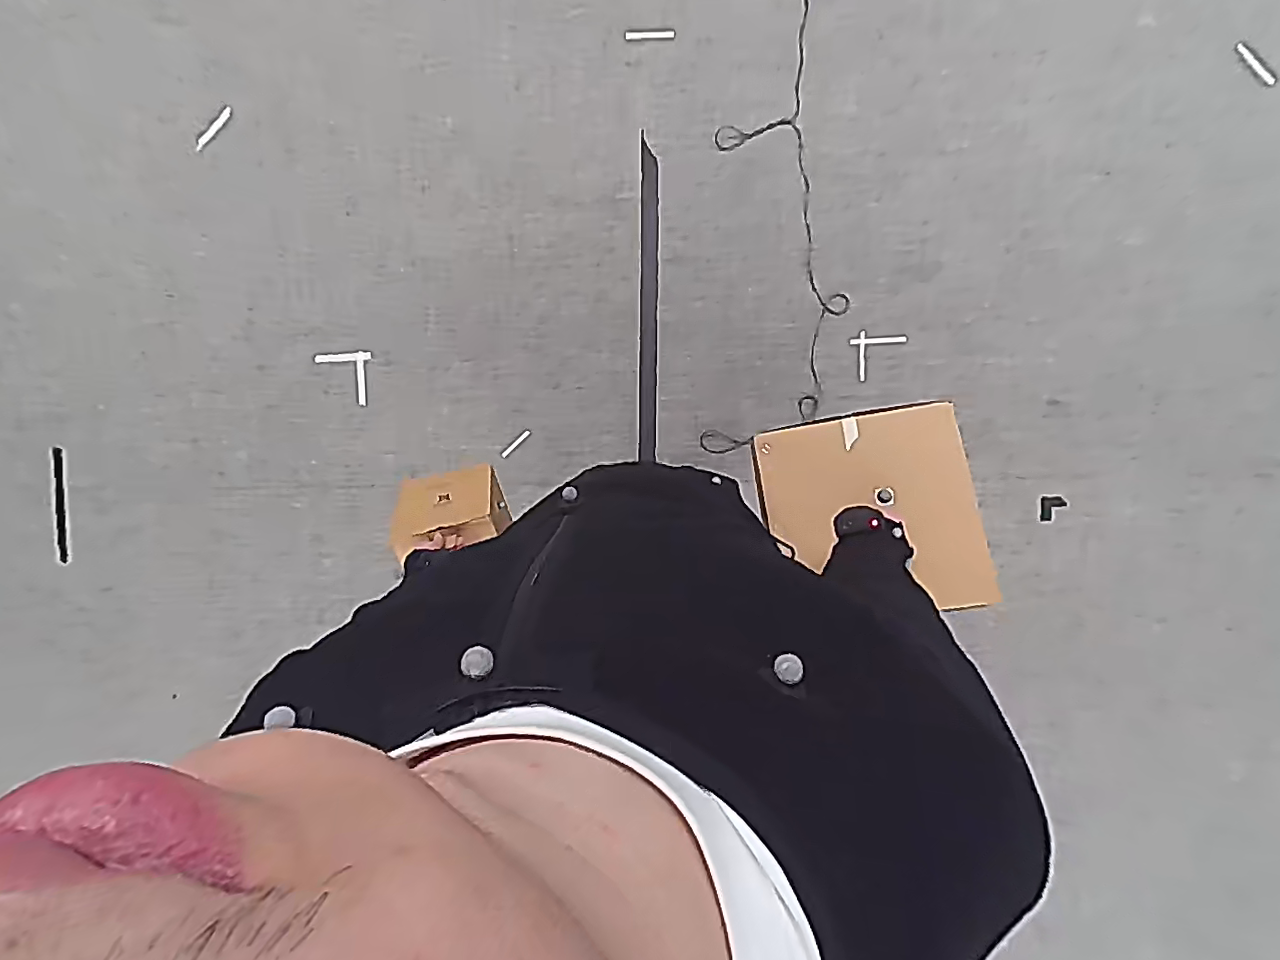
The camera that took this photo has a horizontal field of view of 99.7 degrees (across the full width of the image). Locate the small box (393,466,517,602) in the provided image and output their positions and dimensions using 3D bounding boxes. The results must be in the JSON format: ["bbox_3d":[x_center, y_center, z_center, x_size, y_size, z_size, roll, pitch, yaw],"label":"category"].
[{"bbox_3d":[-0.329,0.103,0.993,0.168,0.179,0.176,-14,124,-7],"label":"small box"}]
